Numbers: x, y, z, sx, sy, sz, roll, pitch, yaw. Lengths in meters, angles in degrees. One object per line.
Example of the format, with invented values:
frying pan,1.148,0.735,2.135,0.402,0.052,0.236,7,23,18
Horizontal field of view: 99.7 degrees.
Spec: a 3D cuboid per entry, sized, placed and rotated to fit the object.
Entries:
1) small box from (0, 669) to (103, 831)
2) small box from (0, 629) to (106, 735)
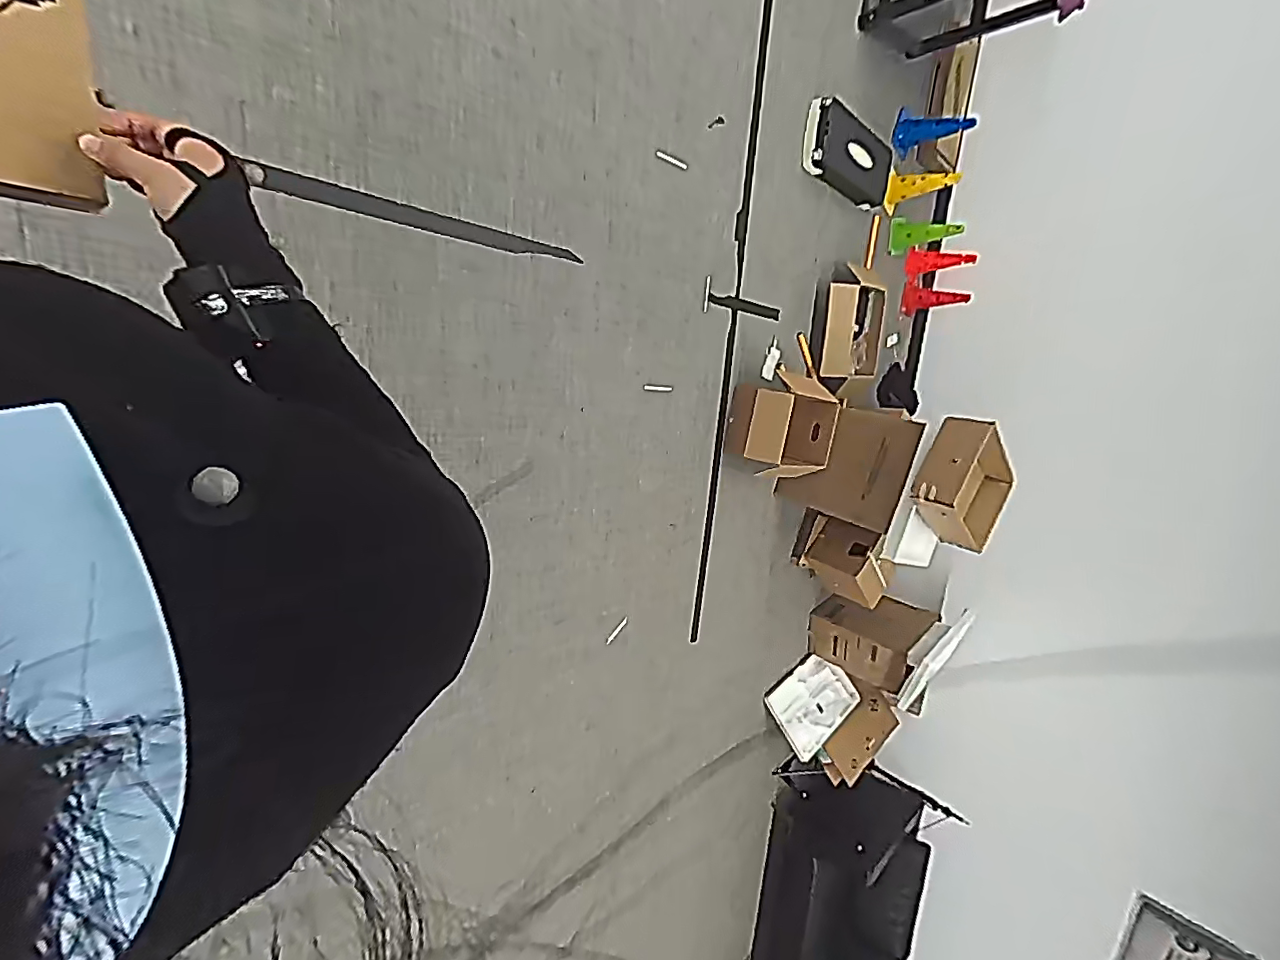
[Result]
small box,-1.049,0.461,0.932,0.168,0.176,0.179,-5,106,-44
small box,-1.166,0.420,1.039,0.168,0.176,0.179,-21,116,-40
